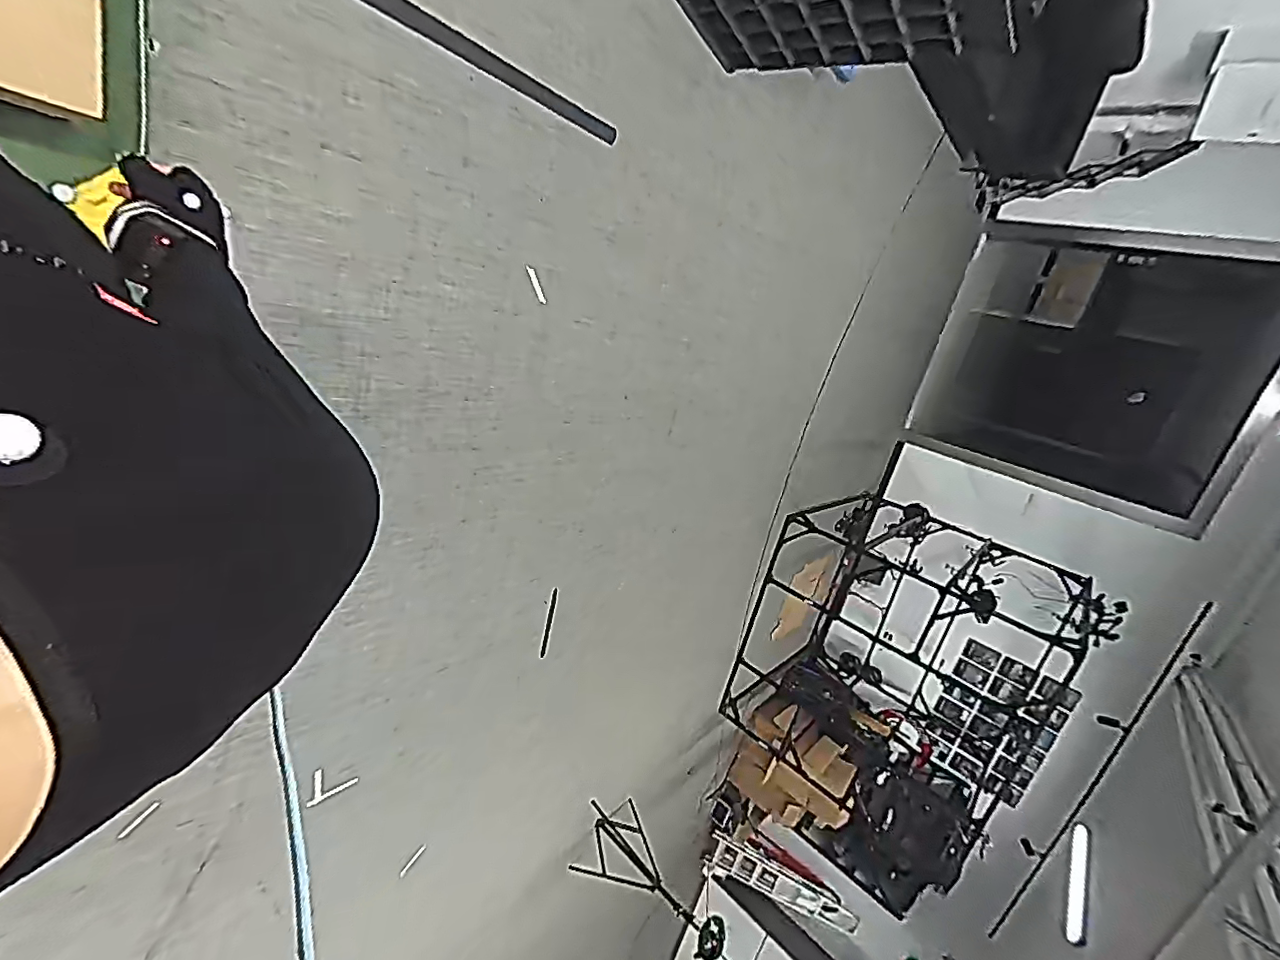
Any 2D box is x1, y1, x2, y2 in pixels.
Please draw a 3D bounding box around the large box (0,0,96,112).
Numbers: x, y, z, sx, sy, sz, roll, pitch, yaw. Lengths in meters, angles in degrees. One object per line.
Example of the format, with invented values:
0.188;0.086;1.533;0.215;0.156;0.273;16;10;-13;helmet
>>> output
-0.979;-0.705;0.657;0.408;0.320;0.320;-7;118;-51;large box
